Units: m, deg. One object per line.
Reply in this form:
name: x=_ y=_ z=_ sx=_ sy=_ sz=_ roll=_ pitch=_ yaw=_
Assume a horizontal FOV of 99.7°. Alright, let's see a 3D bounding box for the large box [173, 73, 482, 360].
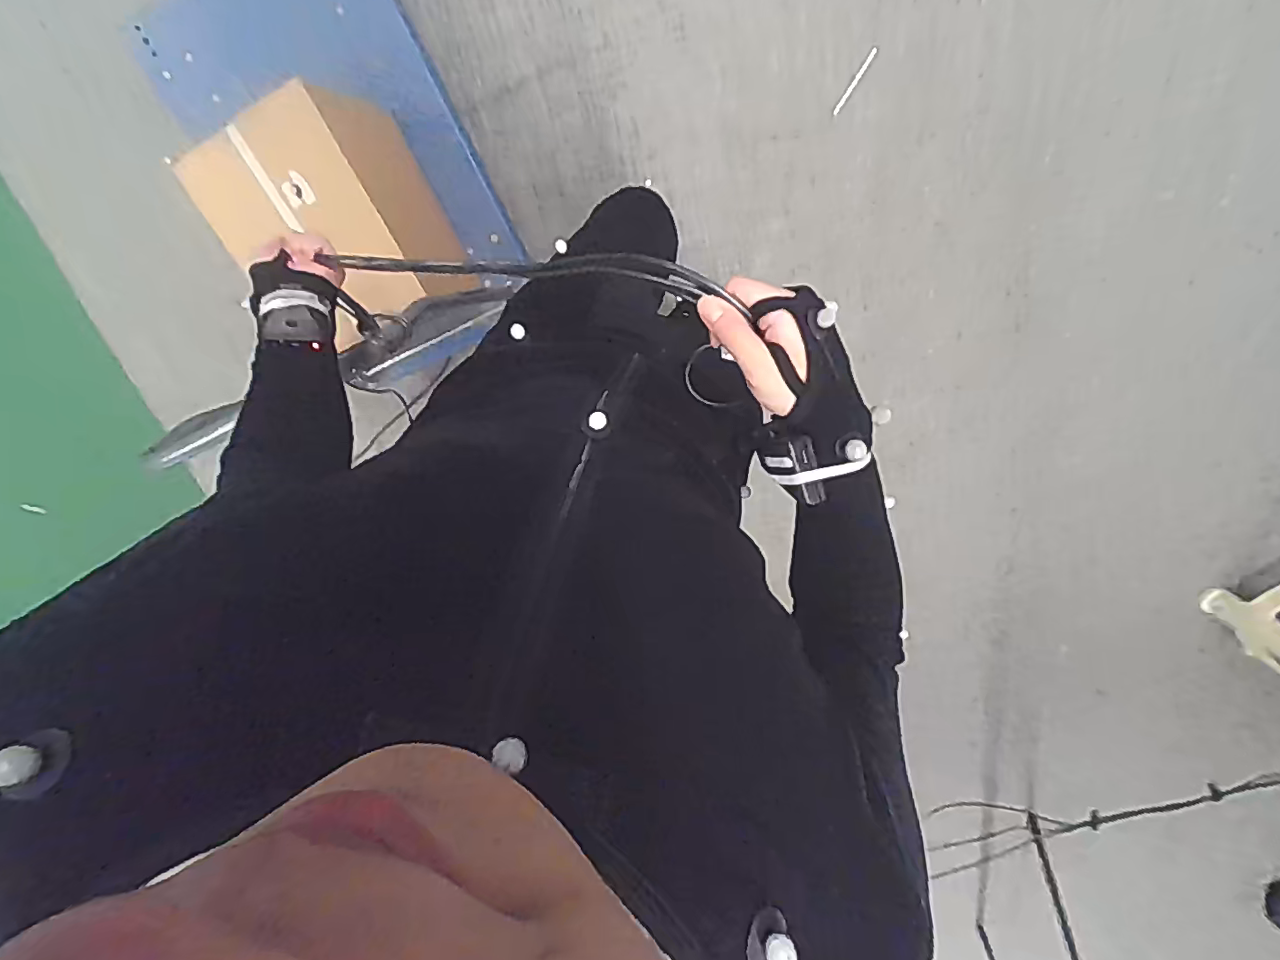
large box: x=-0.607 y=-0.522 z=1.135 sx=0.320 sy=0.320 sz=0.408 roll=-21 pitch=111 yaw=14
